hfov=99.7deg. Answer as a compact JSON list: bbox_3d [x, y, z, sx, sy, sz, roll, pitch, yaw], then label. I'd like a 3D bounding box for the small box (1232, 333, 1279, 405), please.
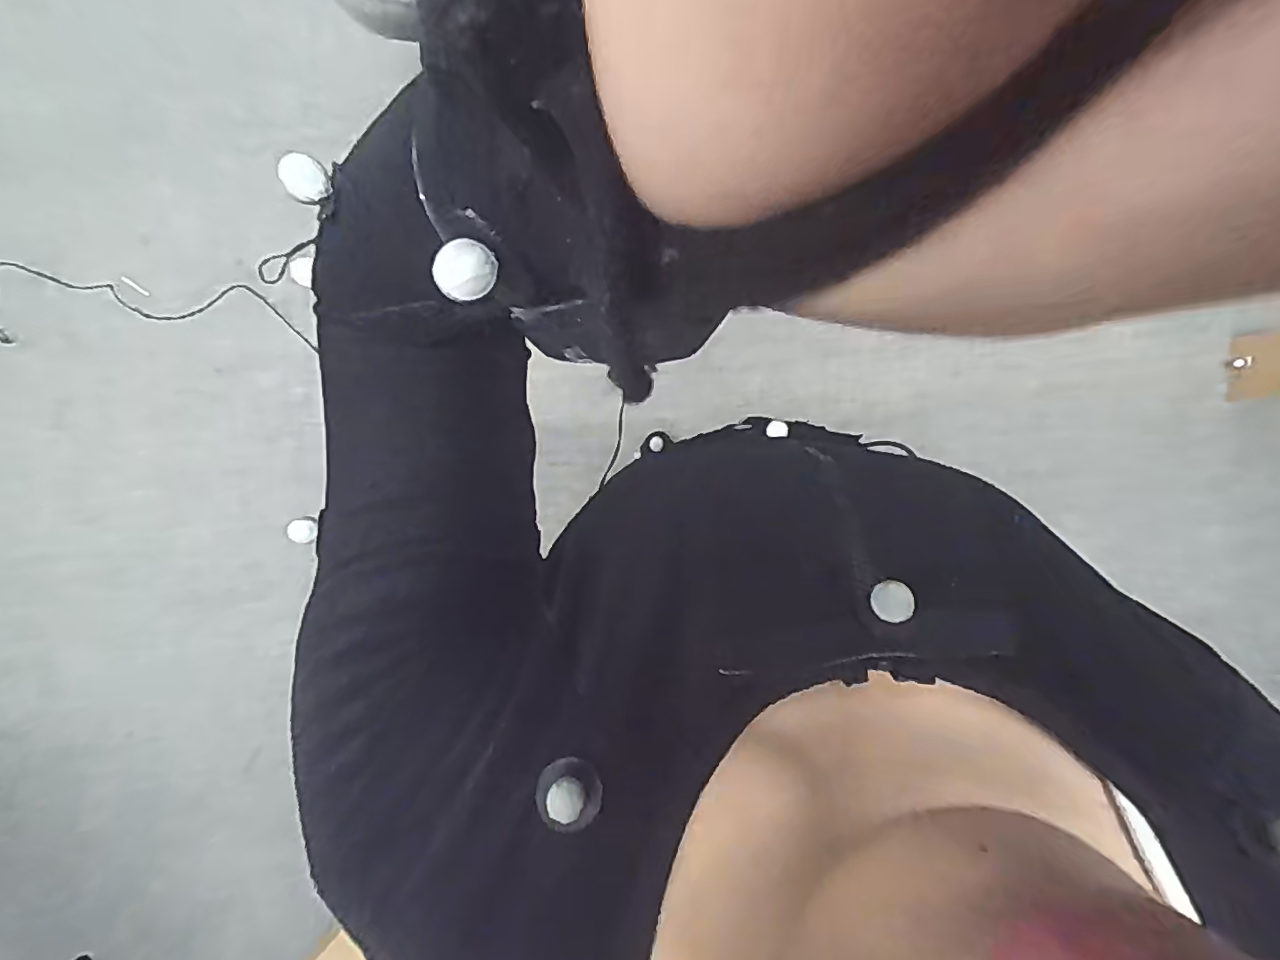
[{"bbox_3d":[1.580,-0.270,1.279,0.179,0.176,0.168,-4,94,6],"label":"small box"}]
